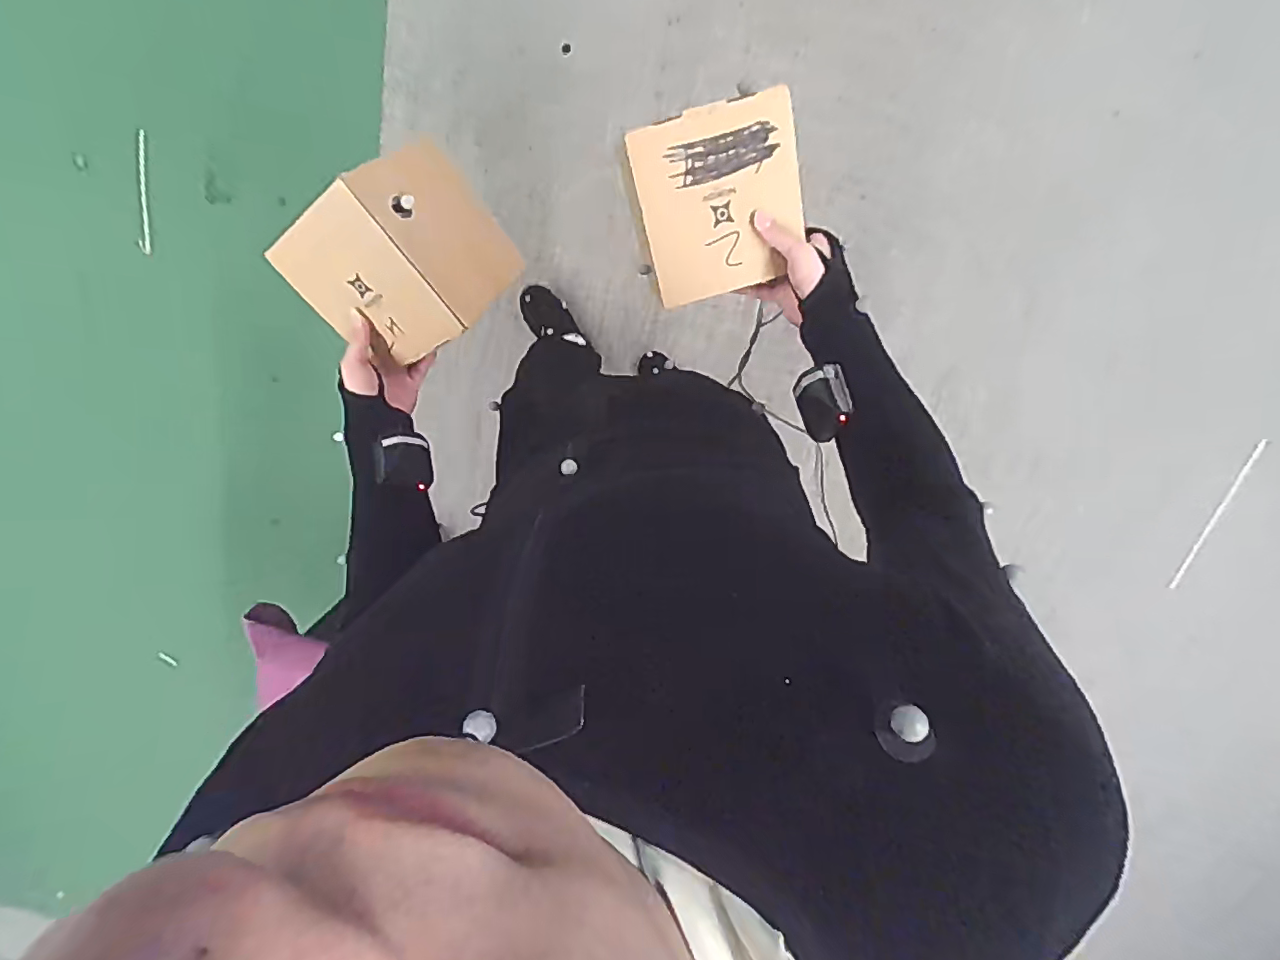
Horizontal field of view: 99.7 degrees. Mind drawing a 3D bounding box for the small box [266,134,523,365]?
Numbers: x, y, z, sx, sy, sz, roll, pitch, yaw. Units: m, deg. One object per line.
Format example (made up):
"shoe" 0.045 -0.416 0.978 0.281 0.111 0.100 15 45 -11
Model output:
"small box" -0.273 -0.273 0.635 0.168 0.176 0.179 -14 128 33
